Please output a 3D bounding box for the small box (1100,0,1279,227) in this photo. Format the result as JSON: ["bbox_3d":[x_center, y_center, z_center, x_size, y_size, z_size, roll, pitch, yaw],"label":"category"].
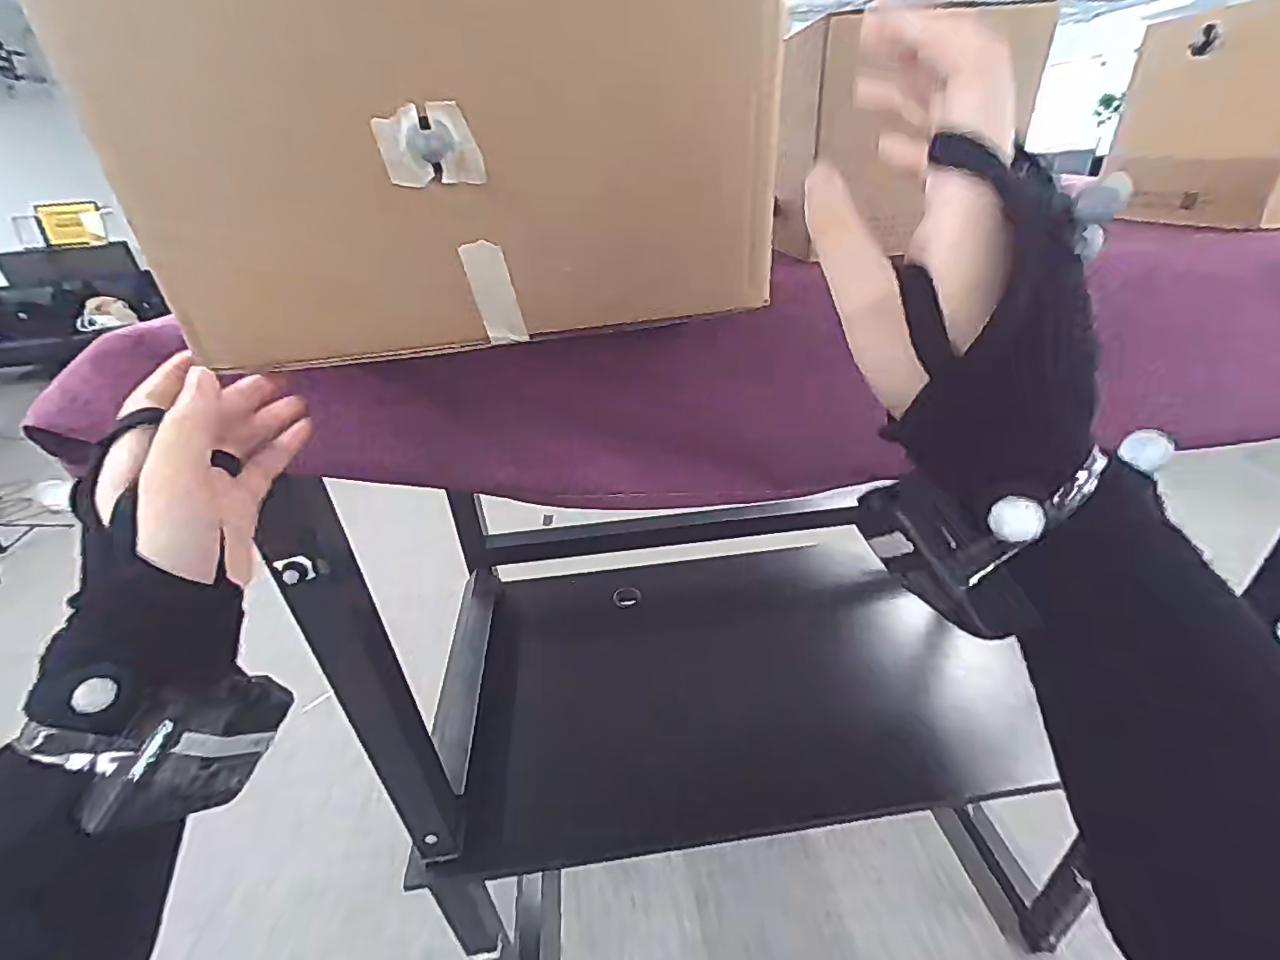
[{"bbox_3d":[0.579,-0.332,0.486,0.179,0.176,0.168,-7,29,-5],"label":"small box"}]

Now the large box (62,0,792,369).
[{"bbox_3d":[-0.121,-0.298,0.389,0.320,0.320,0.408,-9,30,-10],"label":"large box"}]

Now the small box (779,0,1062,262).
[{"bbox_3d":[0.215,-0.303,0.488,0.179,0.176,0.168,-7,29,-3],"label":"small box"}]
